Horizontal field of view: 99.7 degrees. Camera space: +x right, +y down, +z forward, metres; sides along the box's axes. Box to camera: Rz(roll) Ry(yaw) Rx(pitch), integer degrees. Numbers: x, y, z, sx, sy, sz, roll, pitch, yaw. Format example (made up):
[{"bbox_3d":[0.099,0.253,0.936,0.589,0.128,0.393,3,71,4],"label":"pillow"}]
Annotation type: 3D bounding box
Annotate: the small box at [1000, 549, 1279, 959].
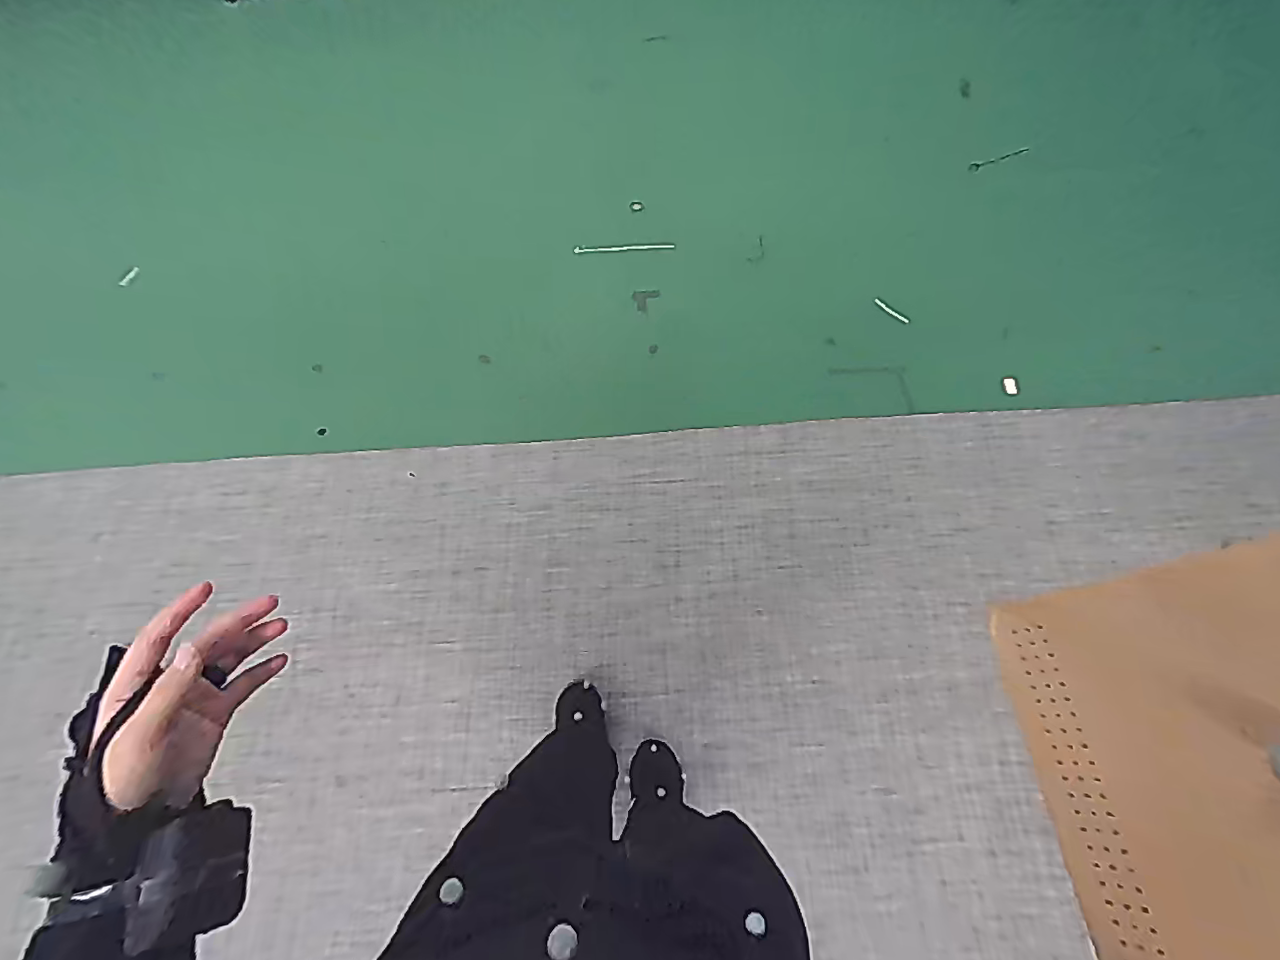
[{"bbox_3d":[0.291,0.122,0.211,0.168,0.176,0.179,4,62,-18],"label":"small box"}]
